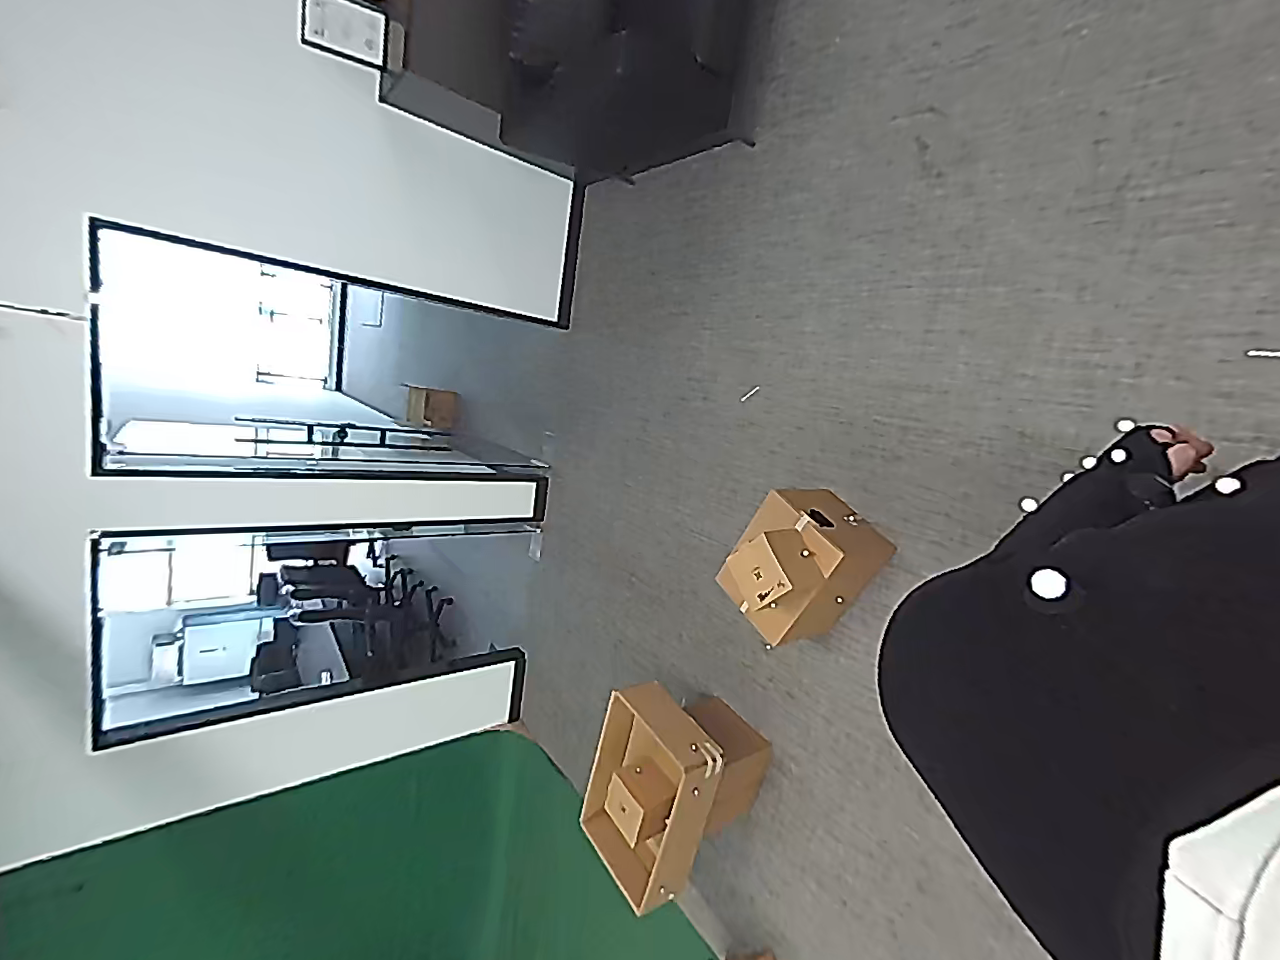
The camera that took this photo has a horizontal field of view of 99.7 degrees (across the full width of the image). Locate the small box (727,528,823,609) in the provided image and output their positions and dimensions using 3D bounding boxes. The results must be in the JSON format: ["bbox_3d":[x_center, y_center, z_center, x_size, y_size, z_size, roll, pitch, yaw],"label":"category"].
[{"bbox_3d":[0.390,0.252,1.564,0.168,0.176,0.179,-46,57,40],"label":"small box"}]

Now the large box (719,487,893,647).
[{"bbox_3d":[0.535,0.268,1.775,0.320,0.320,0.408,50,127,39],"label":"large box"}]
